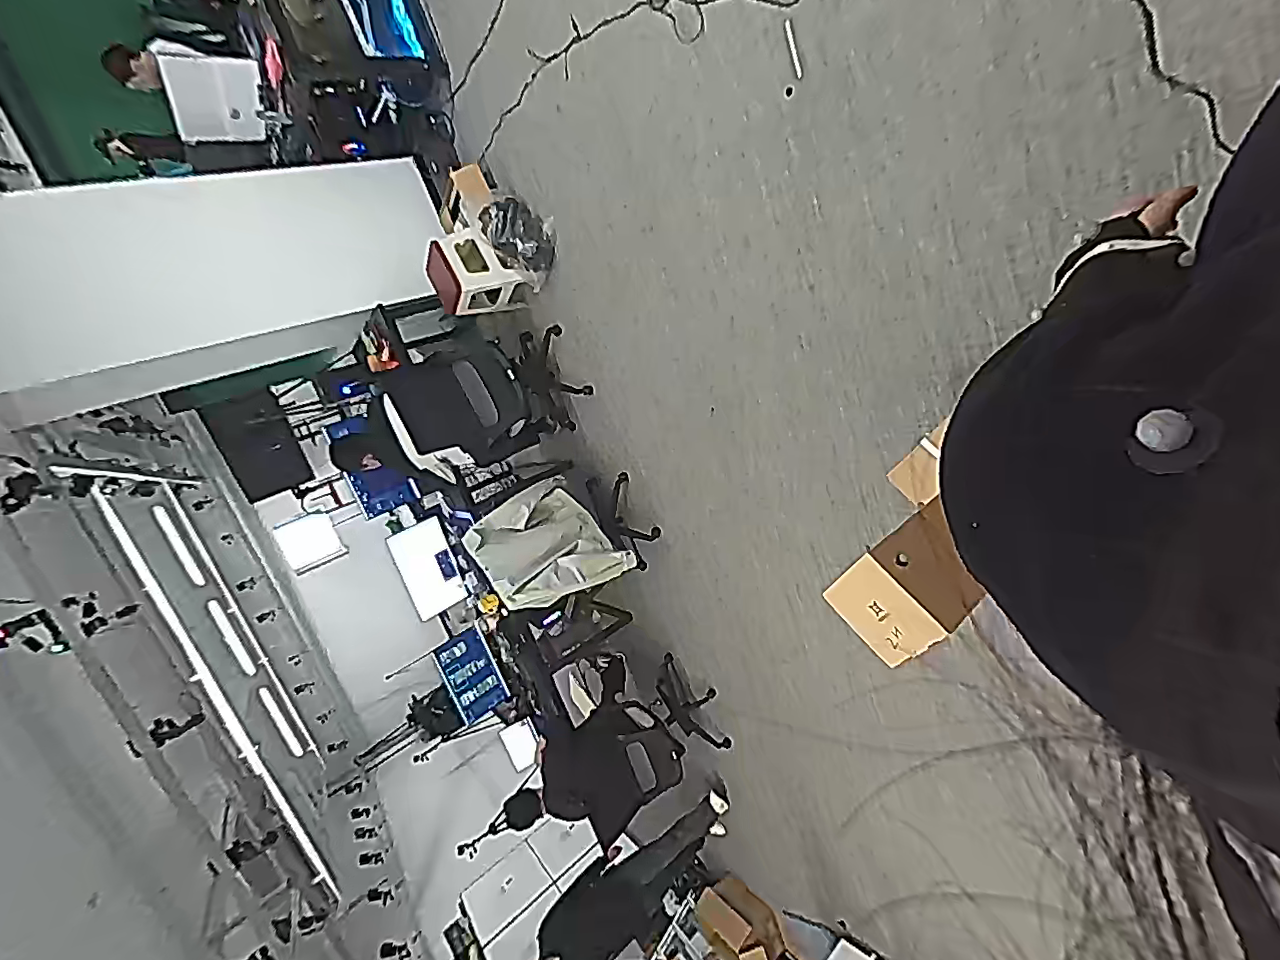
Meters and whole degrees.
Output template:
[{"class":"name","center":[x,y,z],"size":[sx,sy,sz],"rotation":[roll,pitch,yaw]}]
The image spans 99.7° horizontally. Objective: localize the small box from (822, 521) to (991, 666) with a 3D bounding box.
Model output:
[{"class":"small box","center":[0.477,0.195,0.977],"size":[0.179,0.176,0.168],"rotation":[50,147,22]}]
